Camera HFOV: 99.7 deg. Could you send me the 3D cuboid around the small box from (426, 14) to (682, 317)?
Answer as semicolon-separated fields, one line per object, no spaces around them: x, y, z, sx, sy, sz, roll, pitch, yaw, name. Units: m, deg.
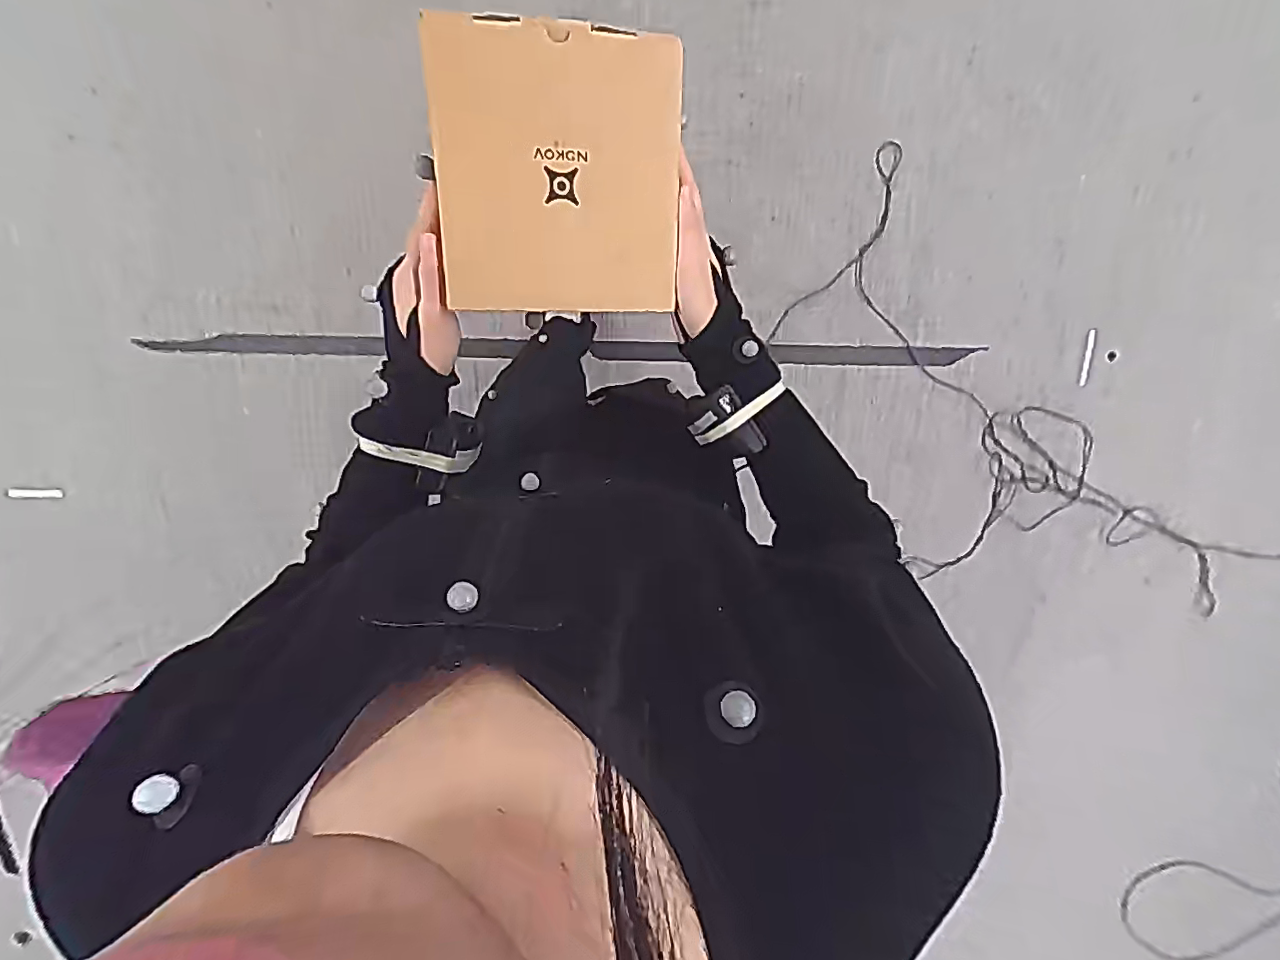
-0.069;-0.230;0.446;0.168;0.176;0.179;-2;107;-11;small box
